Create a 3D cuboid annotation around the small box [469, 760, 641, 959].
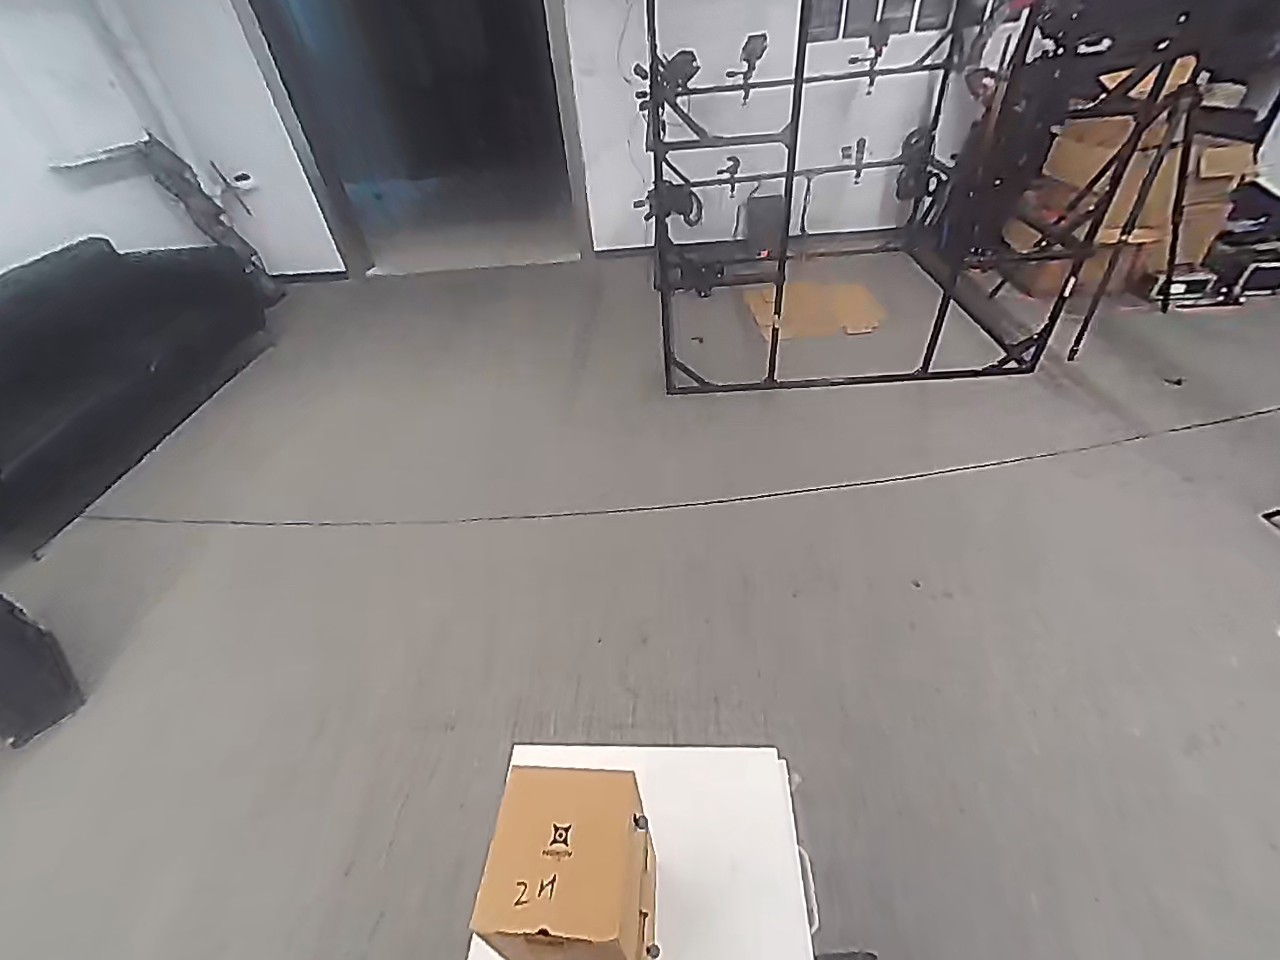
[{"bbox_3d":[-0.091,0.487,0.689,0.168,0.176,0.179,-1,40,8],"label":"small box"}]
